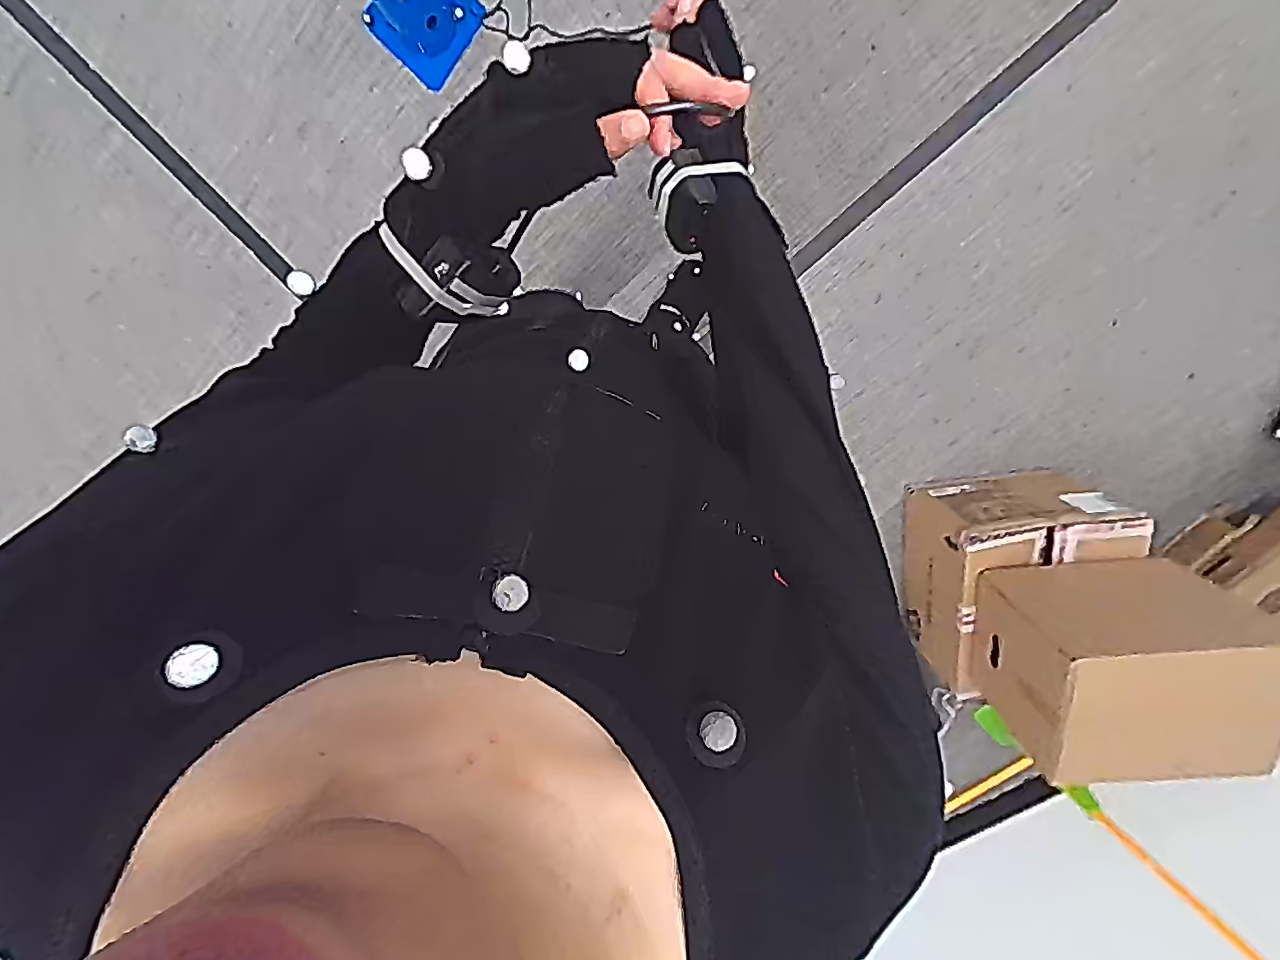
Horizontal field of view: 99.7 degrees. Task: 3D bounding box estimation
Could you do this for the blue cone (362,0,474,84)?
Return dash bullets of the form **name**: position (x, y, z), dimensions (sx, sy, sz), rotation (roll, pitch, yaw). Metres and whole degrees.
- **blue cone**: position (-0.470, -0.911, 0.983), dimensions (0.193, 0.380, 0.192), rotation (42, 108, -14)
